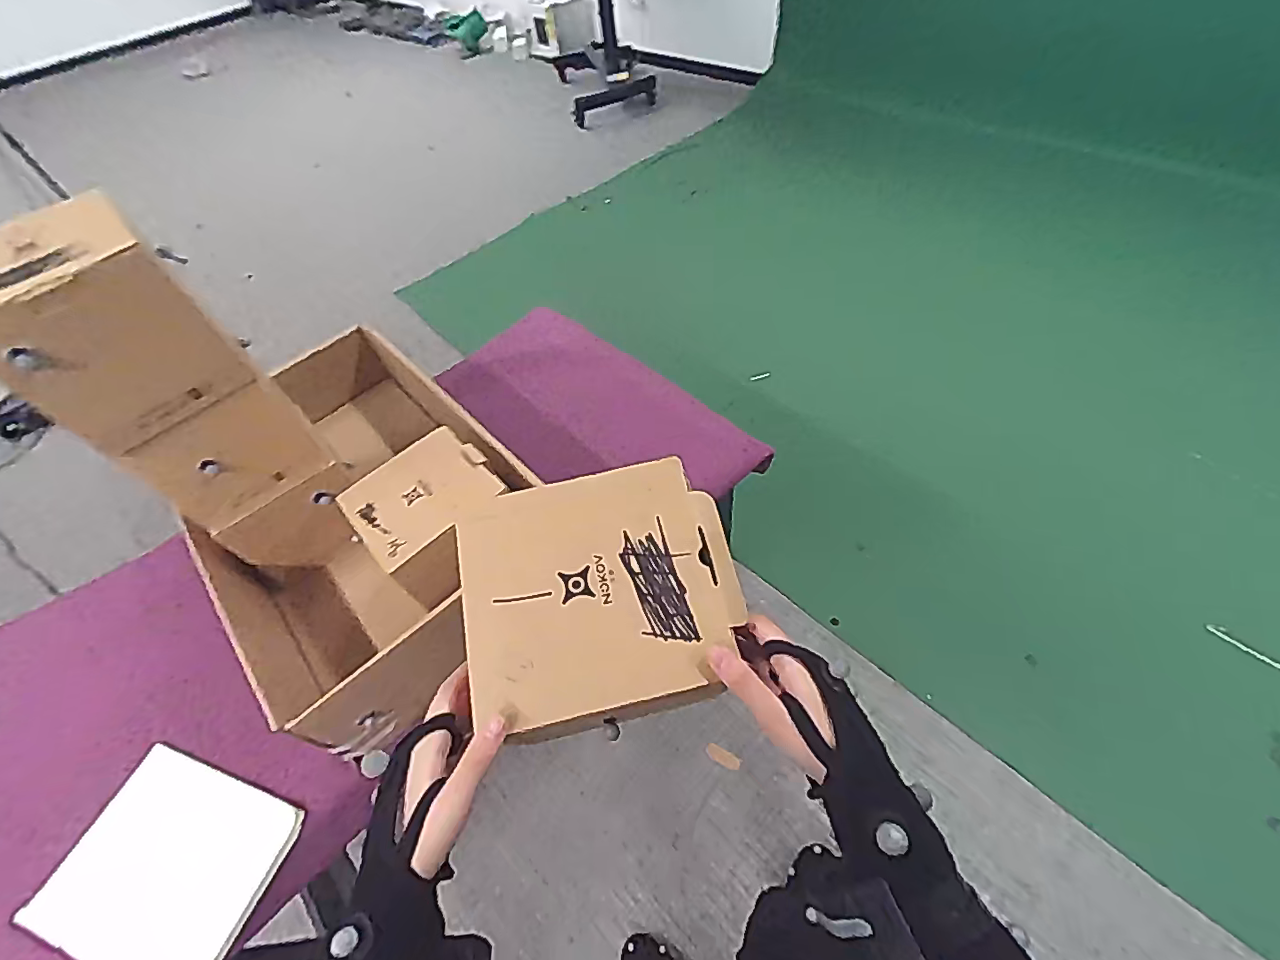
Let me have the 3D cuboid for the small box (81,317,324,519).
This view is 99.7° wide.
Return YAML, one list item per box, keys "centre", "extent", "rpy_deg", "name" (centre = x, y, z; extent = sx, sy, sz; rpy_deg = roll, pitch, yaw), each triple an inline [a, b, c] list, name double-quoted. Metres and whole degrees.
- centre: [-0.556, -0.073, 0.708]
  extent: [0.168, 0.176, 0.179]
  rpy_deg: [-38, 59, -20]
  name: "small box"

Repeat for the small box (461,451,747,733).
- centre: [-0.030, 0.100, 0.444]
  extent: [0.179, 0.176, 0.168]
  rpy_deg: [-13, 63, -4]
  name: "small box"
